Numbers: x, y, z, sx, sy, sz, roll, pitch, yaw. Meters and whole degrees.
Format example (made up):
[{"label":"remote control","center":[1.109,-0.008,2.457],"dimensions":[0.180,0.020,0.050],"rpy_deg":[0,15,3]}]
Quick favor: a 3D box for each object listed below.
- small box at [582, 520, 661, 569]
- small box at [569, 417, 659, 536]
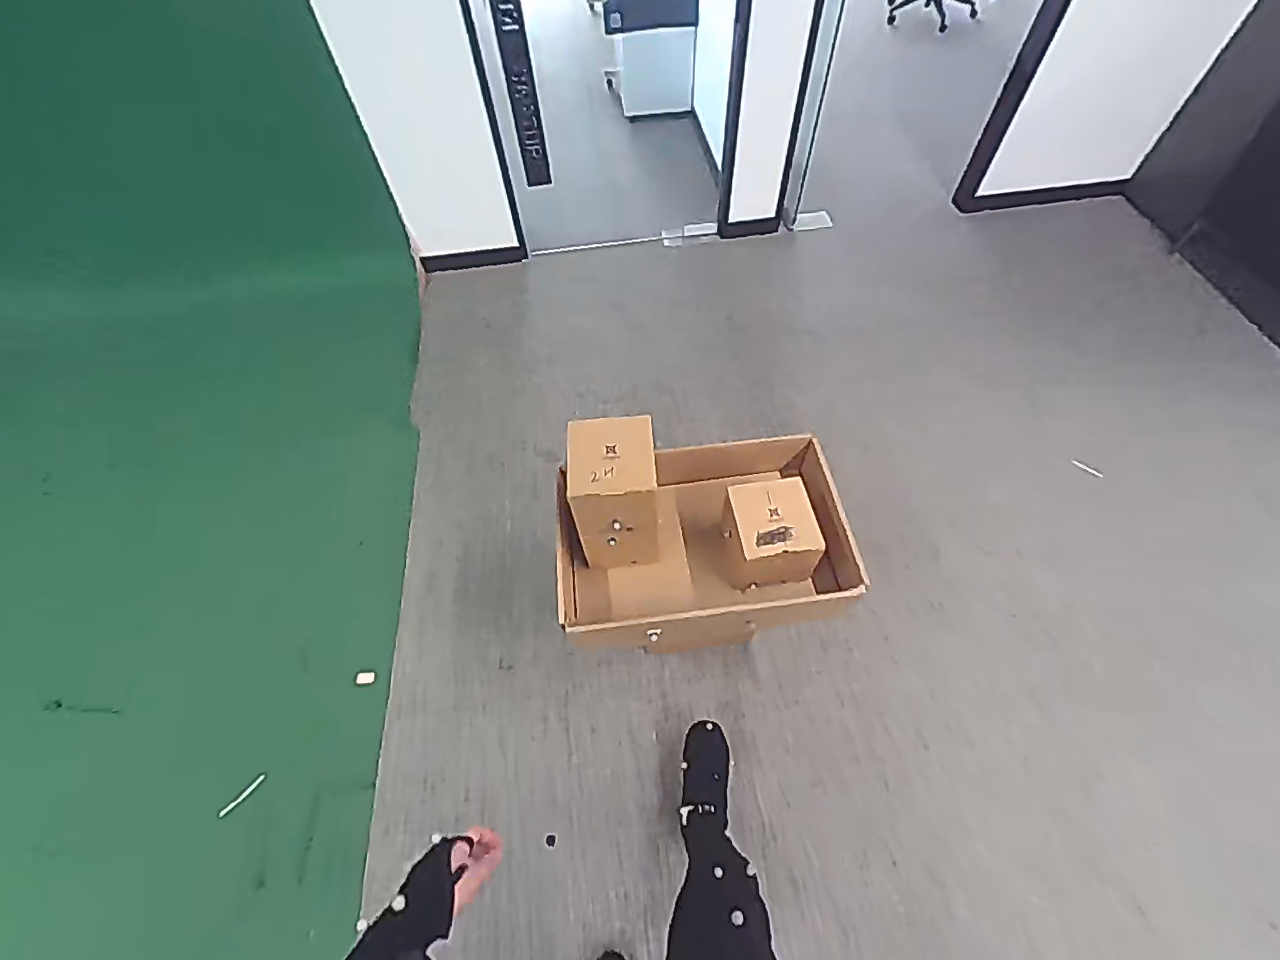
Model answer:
[{"label":"small box","center":[-0.044,0.085,1.222],"dimensions":[0.168,0.176,0.179],"rpy_deg":[-5,57,-1]},{"label":"small box","center":[-0.049,-0.004,1.084],"dimensions":[0.168,0.176,0.179],"rpy_deg":[-4,57,1]}]
